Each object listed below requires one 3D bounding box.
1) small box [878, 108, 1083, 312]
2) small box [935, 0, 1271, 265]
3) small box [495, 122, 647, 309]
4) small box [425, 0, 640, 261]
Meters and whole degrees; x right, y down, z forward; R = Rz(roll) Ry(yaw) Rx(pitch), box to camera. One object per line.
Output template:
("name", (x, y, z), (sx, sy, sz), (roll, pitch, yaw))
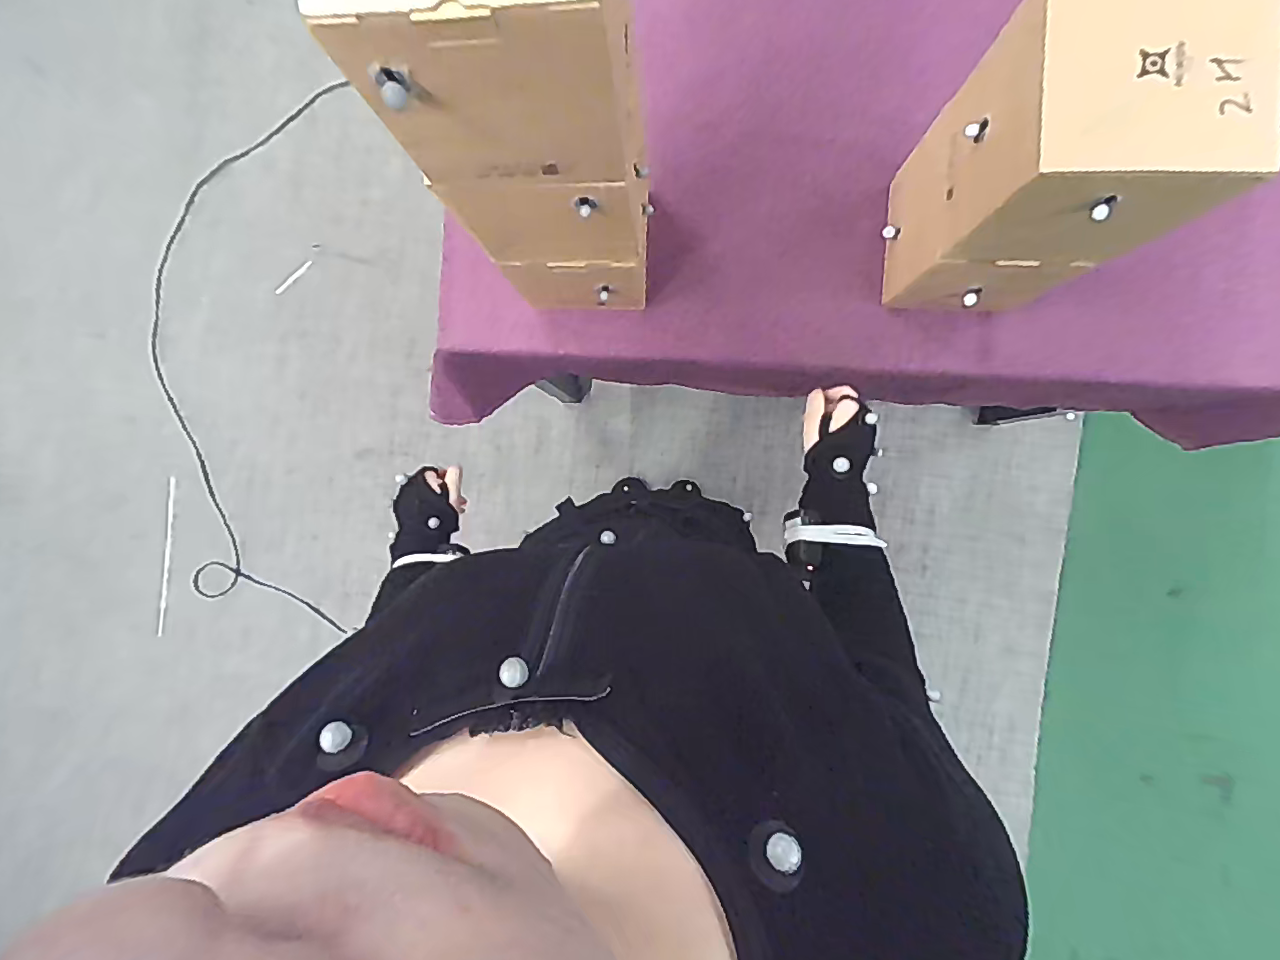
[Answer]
("small box", (0.410, -0.317, 0.668), (0.168, 0.176, 0.179), (4, 92, 3))
("small box", (0.402, -0.313, 0.502), (0.179, 0.176, 0.168), (3, 91, 4))
("small box", (-0.079, -0.330, 0.699), (0.168, 0.176, 0.179), (2, 90, 3))
("small box", (-0.093, -0.329, 0.537), (0.179, 0.176, 0.168), (0, 91, 2))
